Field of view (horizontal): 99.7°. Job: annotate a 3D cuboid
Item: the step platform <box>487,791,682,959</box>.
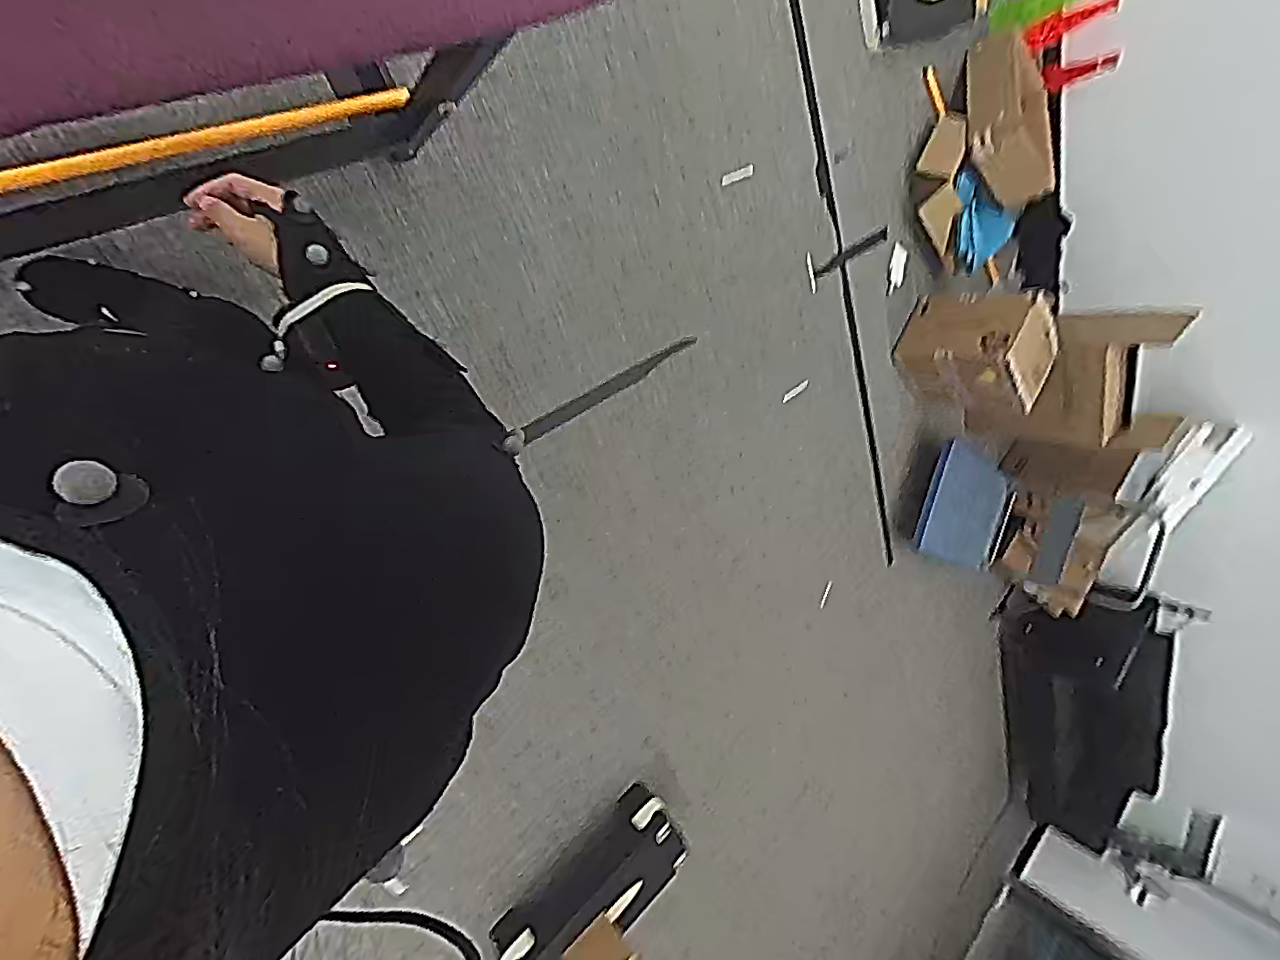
[{"bbox_3d":[-0.163,1.451,1.871,0.684,0.204,0.286,-36,120,-26],"label":"step platform"}]
